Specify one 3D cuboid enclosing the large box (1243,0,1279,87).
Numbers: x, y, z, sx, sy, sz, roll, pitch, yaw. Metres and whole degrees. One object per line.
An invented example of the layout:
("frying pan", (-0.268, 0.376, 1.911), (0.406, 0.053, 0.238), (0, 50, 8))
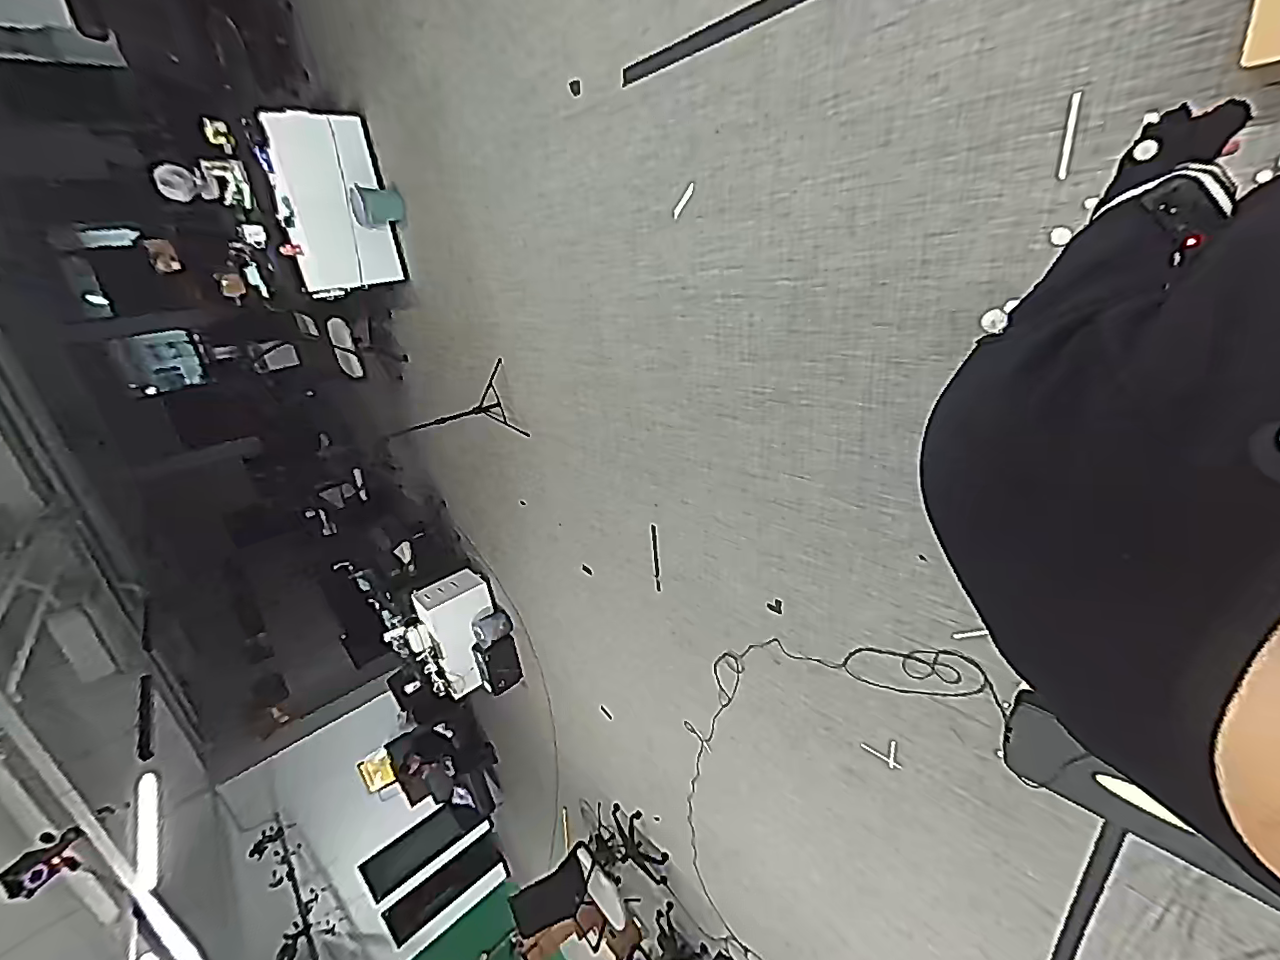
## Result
("large box", (1.024, -0.705, 0.616), (0.408, 0.320, 0.320), (16, 123, 45))
